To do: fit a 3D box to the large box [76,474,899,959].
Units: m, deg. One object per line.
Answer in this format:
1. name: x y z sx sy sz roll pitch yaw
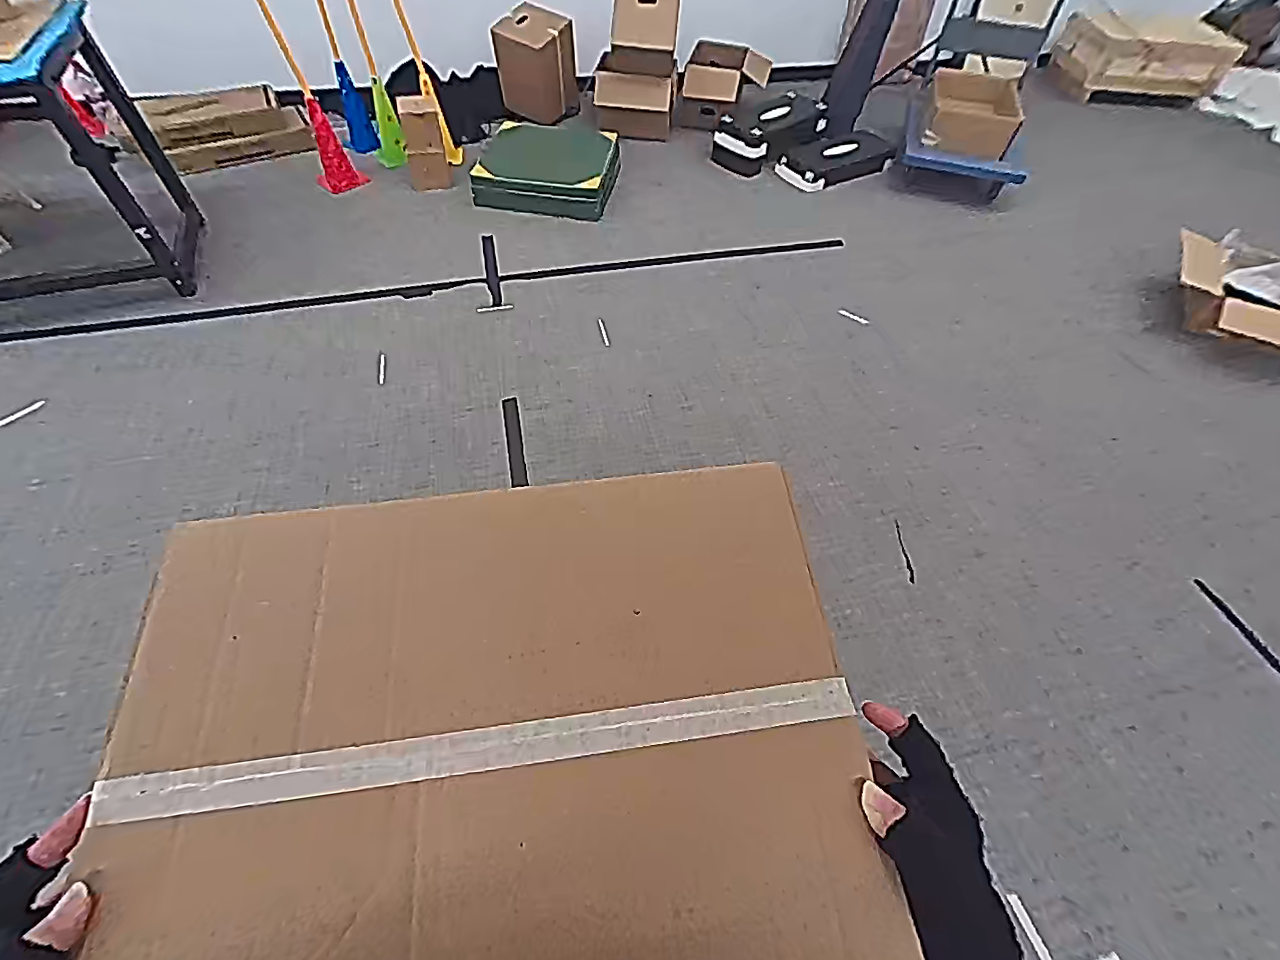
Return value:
1. large box: -0.085 0.219 0.441 0.408 0.320 0.320 -6 62 -4
